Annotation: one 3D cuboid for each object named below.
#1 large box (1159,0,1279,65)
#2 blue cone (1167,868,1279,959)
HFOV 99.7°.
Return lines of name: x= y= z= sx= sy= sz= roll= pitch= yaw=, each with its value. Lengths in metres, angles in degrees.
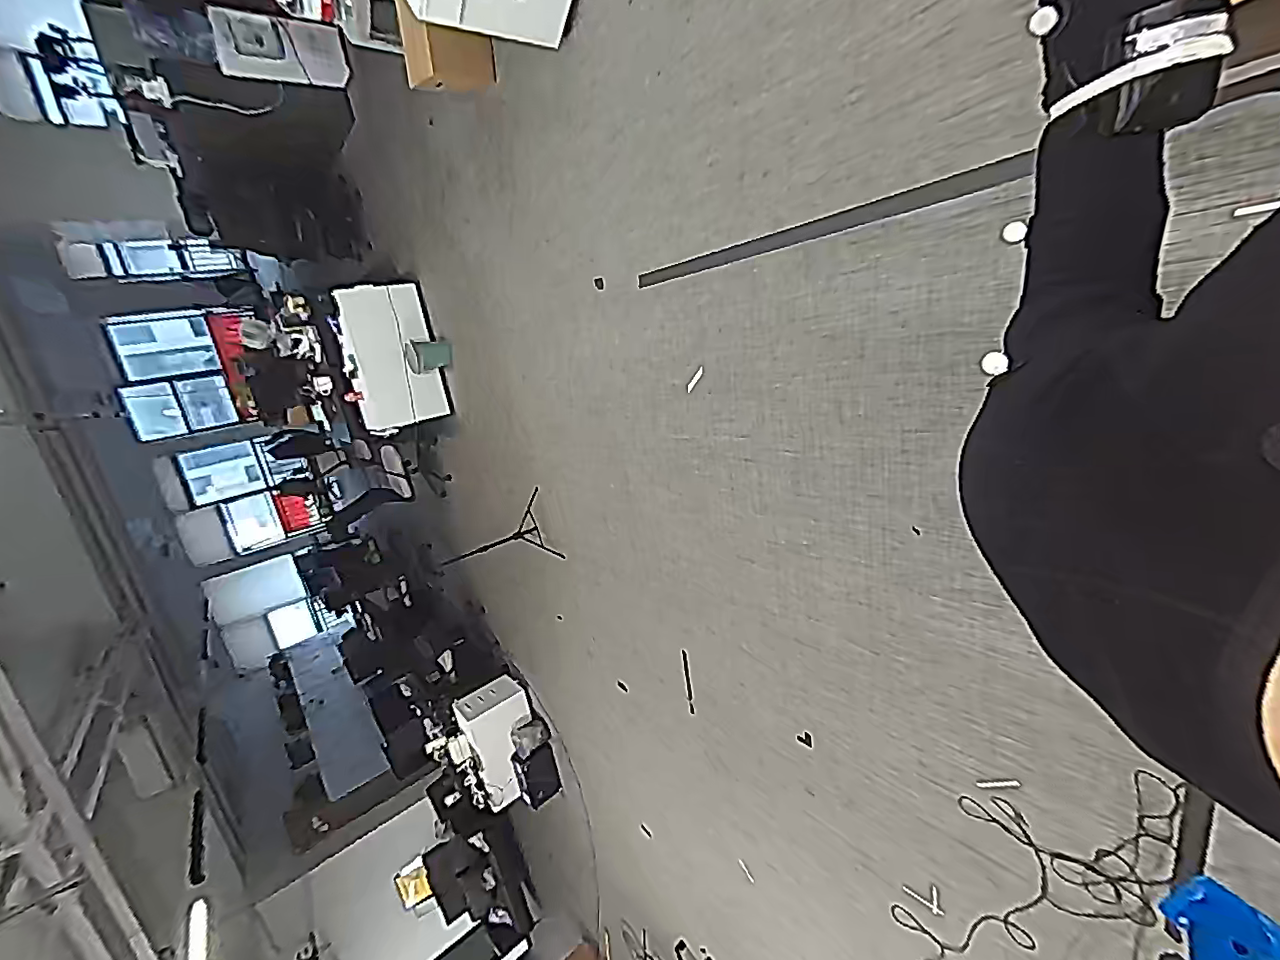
large box: x=0.544 y=-0.482 z=0.254 sx=0.408 sy=0.320 sz=0.320 roll=7 pitch=116 yaw=50
blue cone: x=1.299 y=1.099 z=1.206 sx=0.193 sy=0.380 sz=0.192 roll=35 pitch=133 yaw=38
